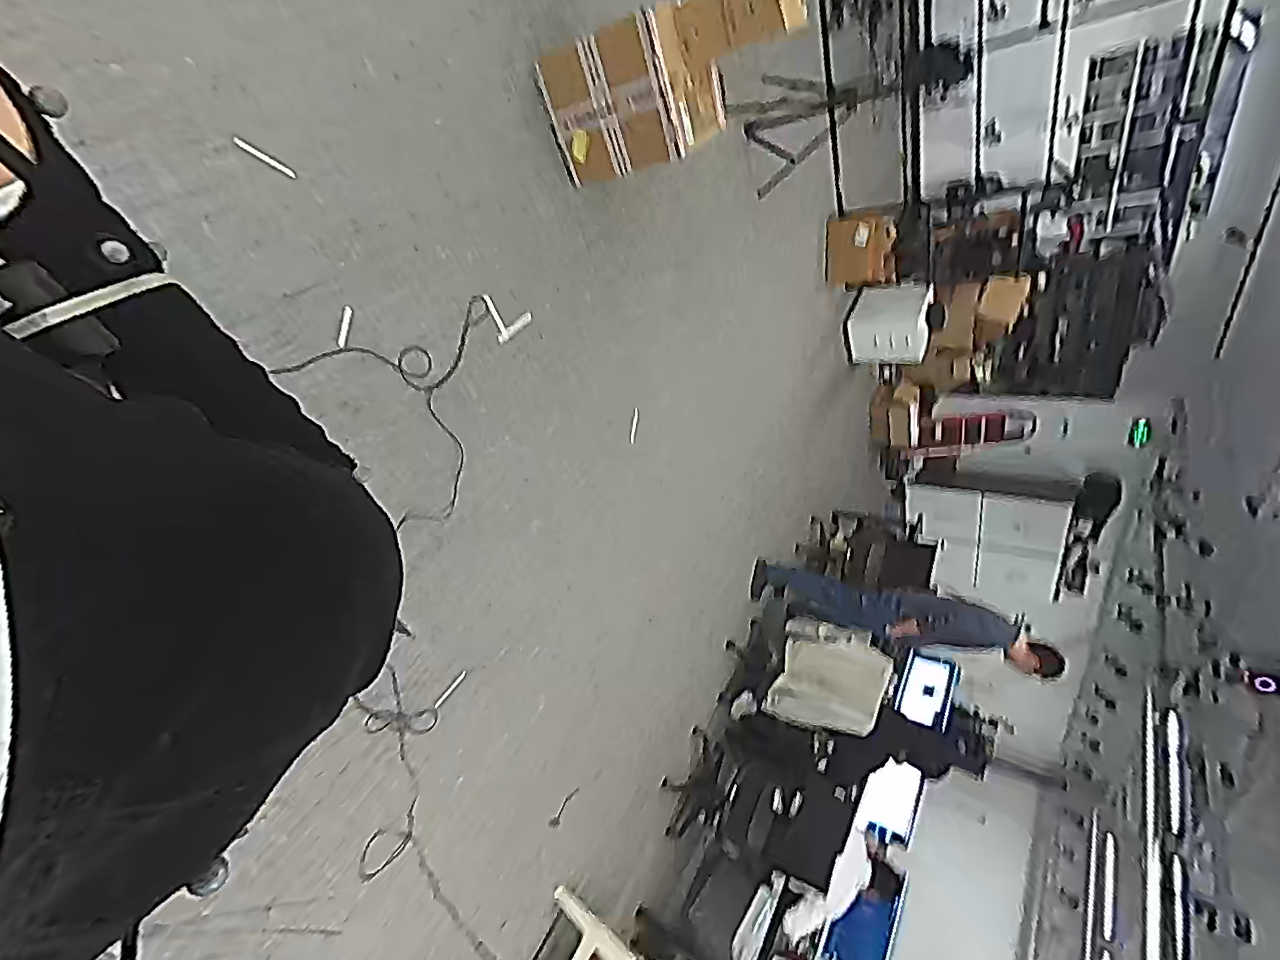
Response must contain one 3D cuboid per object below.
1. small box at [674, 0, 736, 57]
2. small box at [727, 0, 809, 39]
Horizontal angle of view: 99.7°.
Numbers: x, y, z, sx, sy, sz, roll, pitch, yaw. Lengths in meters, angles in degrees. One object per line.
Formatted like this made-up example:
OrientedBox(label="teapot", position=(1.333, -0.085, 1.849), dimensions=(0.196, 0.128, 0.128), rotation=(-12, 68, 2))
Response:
OrientedBox(label="small box", position=(0.229, -1.414, 1.627), dimensions=(0.179, 0.176, 0.168), rotation=(-50, 132, -32))
OrientedBox(label="small box", position=(0.353, -1.382, 1.524), dimensions=(0.179, 0.176, 0.168), rotation=(-48, 132, -33))
